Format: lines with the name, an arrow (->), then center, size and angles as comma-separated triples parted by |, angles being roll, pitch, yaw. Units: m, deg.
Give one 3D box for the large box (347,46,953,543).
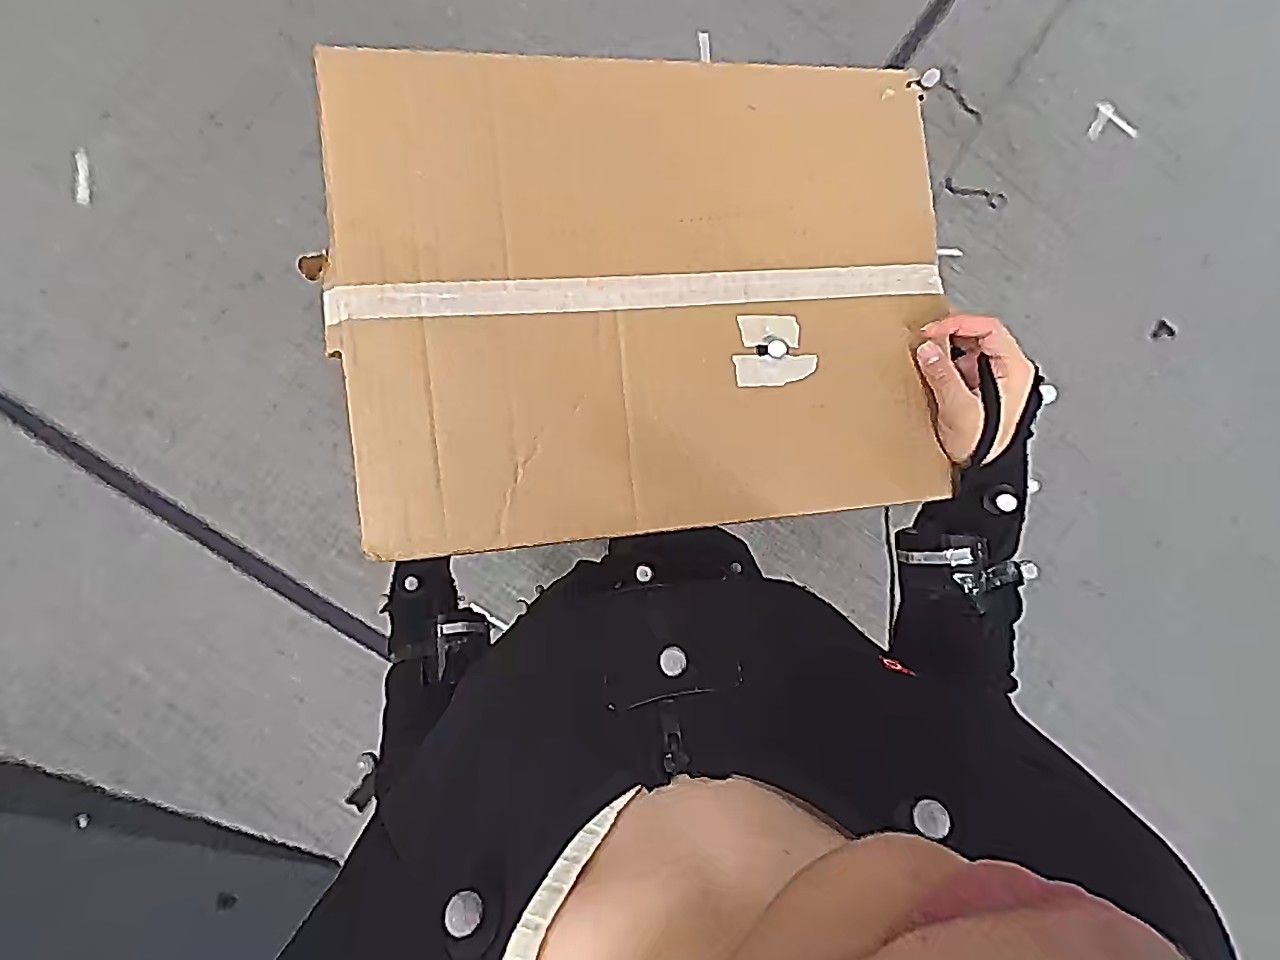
large box -> -0.003, -0.127, 0.511 | 0.408, 0.320, 0.320 | -5, 90, -11
